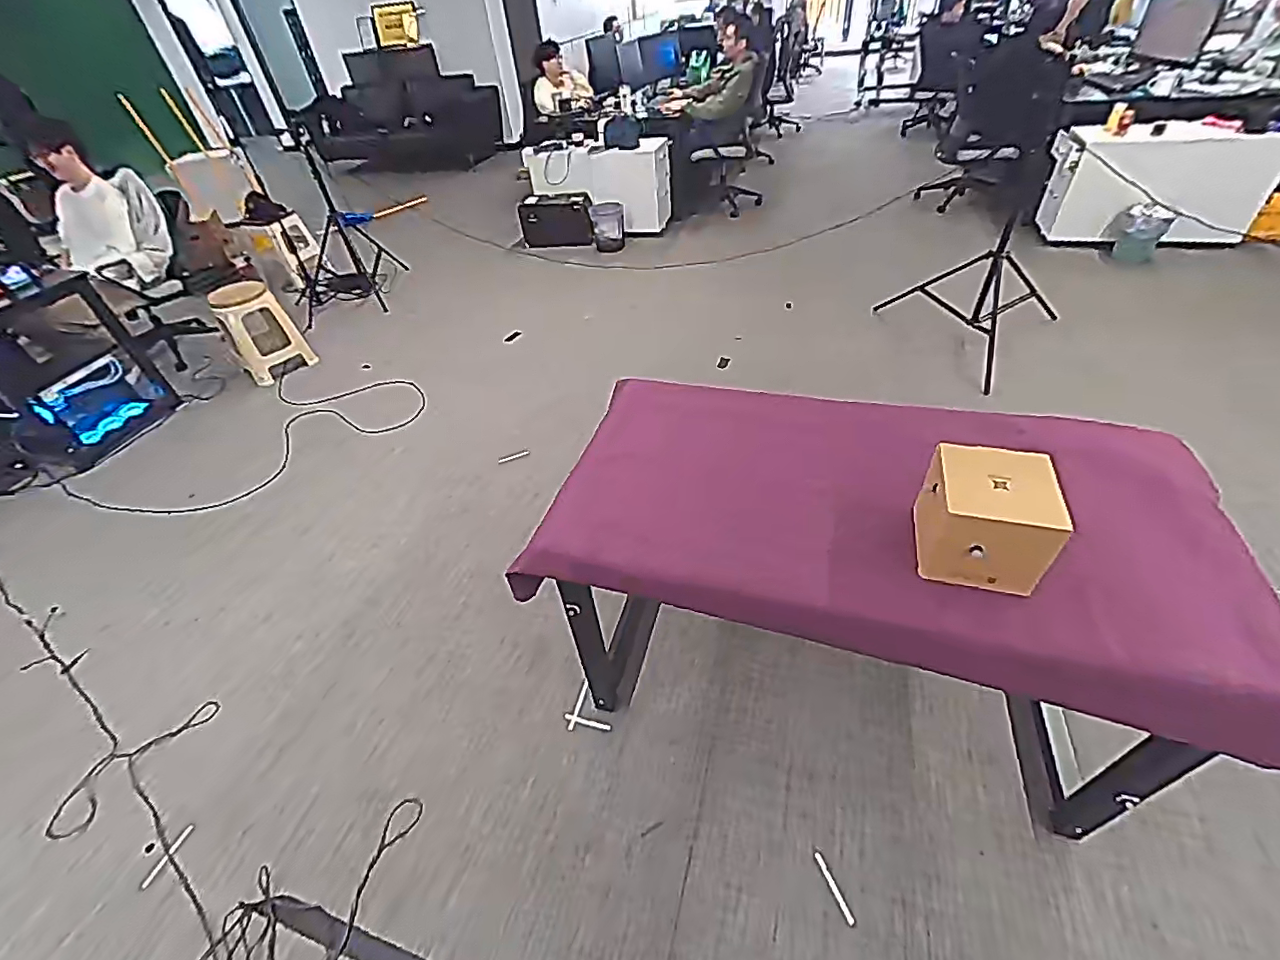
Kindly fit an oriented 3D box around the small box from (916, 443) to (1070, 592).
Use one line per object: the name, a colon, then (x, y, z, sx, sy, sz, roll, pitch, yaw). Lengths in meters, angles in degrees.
small box: (0.574, 0.063, 0.908, 0.168, 0.176, 0.179, 8, 44, 16)
